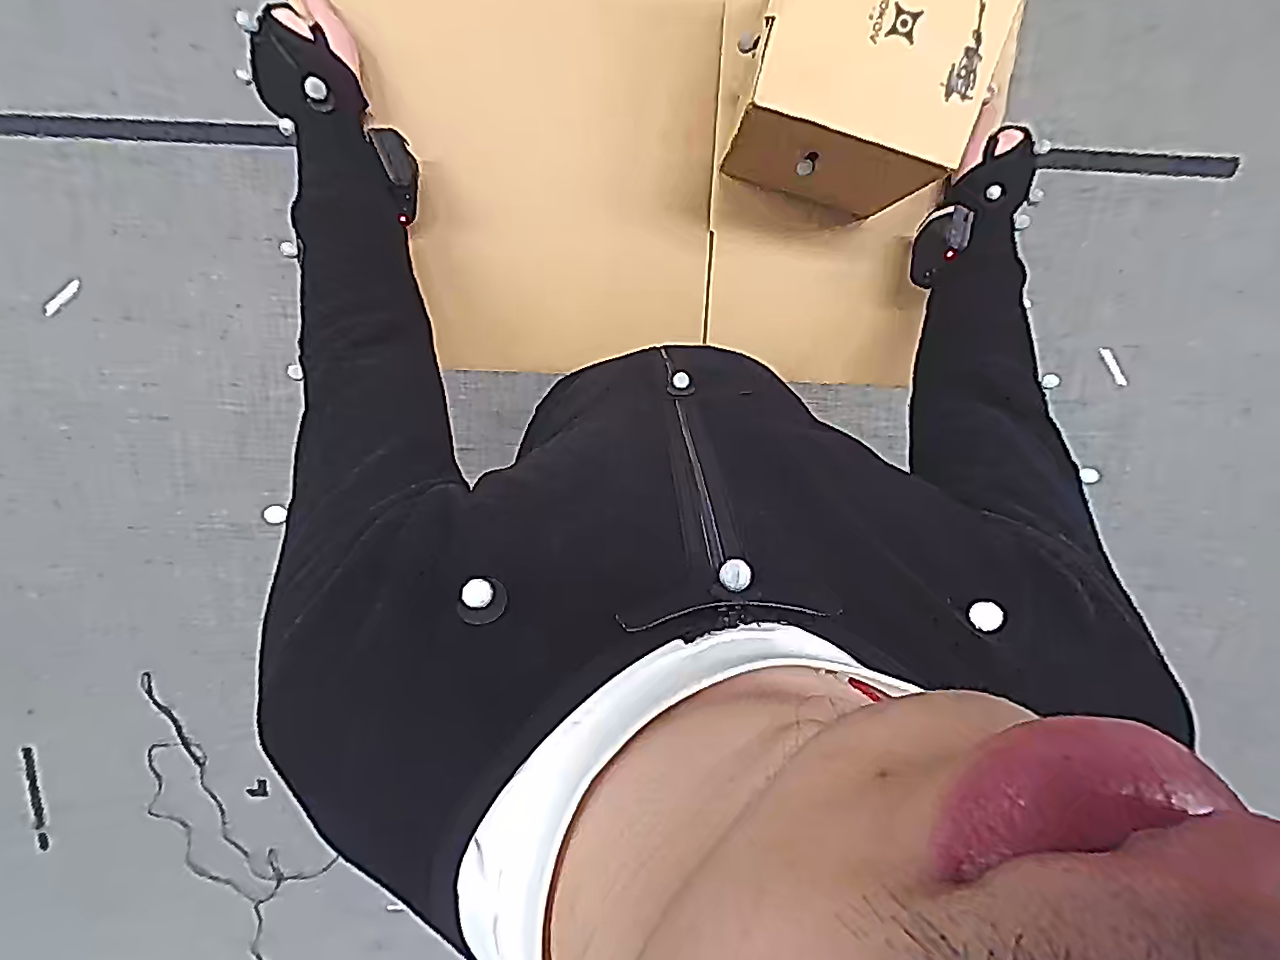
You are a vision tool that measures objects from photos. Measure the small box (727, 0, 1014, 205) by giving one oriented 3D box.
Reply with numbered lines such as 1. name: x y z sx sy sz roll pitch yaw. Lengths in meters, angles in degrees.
1. small box: 0.190 -0.371 0.486 0.179 0.176 0.168 15 104 -3
